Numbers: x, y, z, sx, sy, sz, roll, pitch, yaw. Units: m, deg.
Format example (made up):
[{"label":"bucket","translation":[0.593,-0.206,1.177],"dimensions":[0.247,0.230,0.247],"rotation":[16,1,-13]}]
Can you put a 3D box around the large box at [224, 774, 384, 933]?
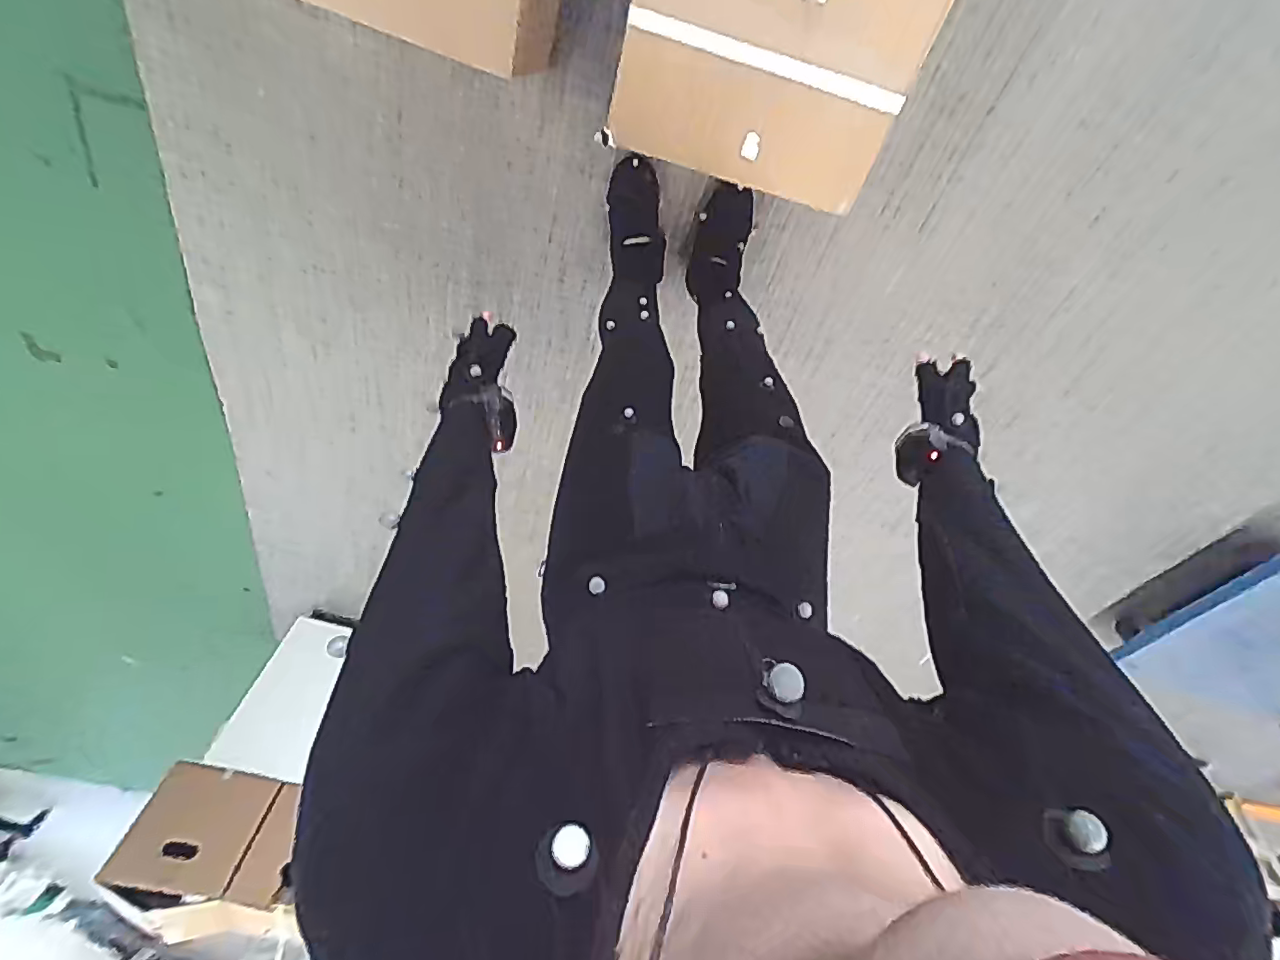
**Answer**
[{"label":"large box","translation":[-1.039,1.194,1.723],"dimensions":[0.320,0.320,0.408],"rotation":[19,129,-9]}]
